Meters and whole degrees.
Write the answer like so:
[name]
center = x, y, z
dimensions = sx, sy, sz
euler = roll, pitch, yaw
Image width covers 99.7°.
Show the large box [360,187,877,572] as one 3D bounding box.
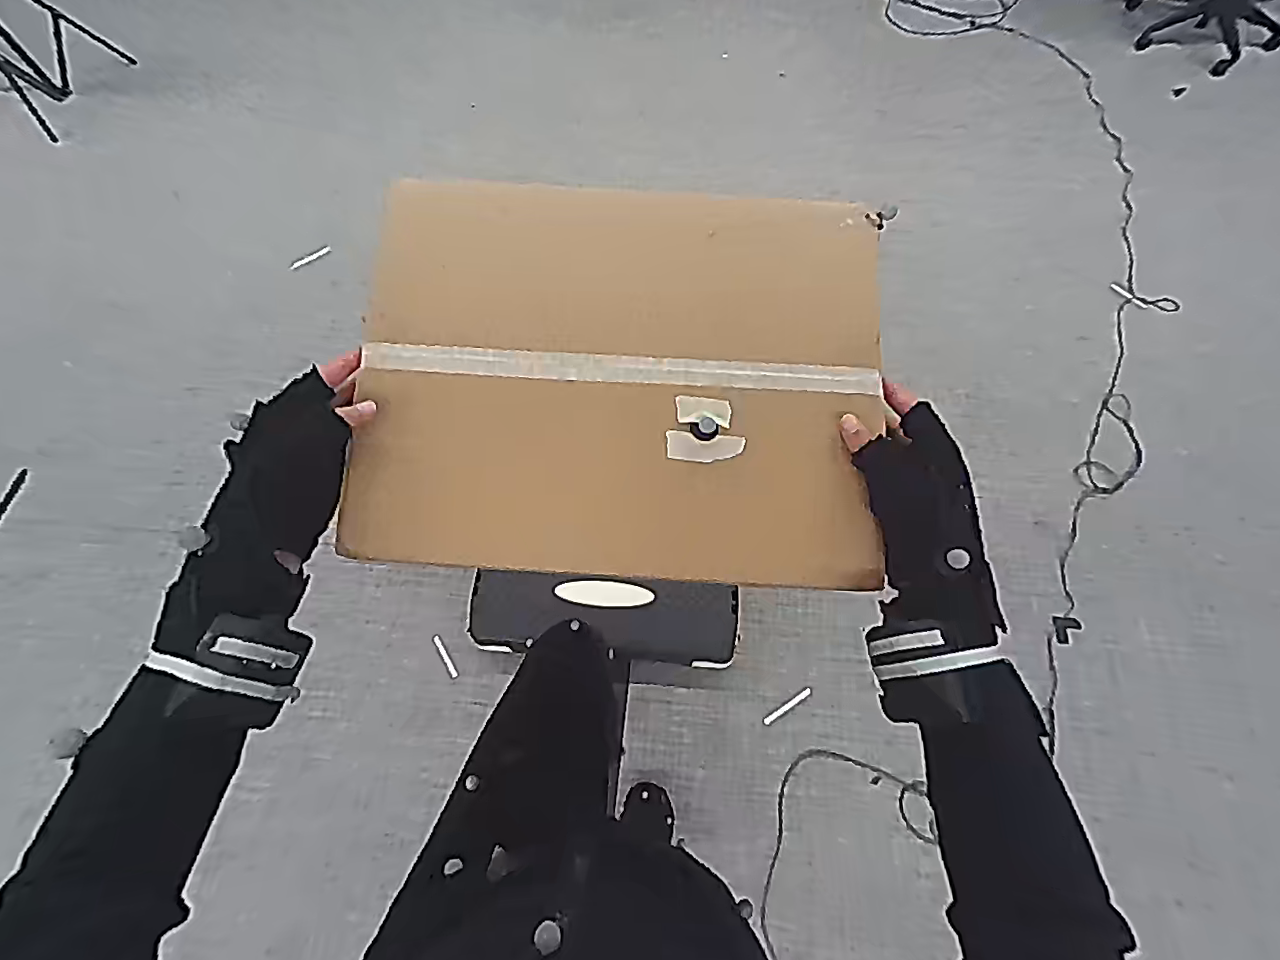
[large box]
center = -0.012, -0.066, 0.582
dimensions = 0.408, 0.320, 0.320
euler = 4, 81, 0
